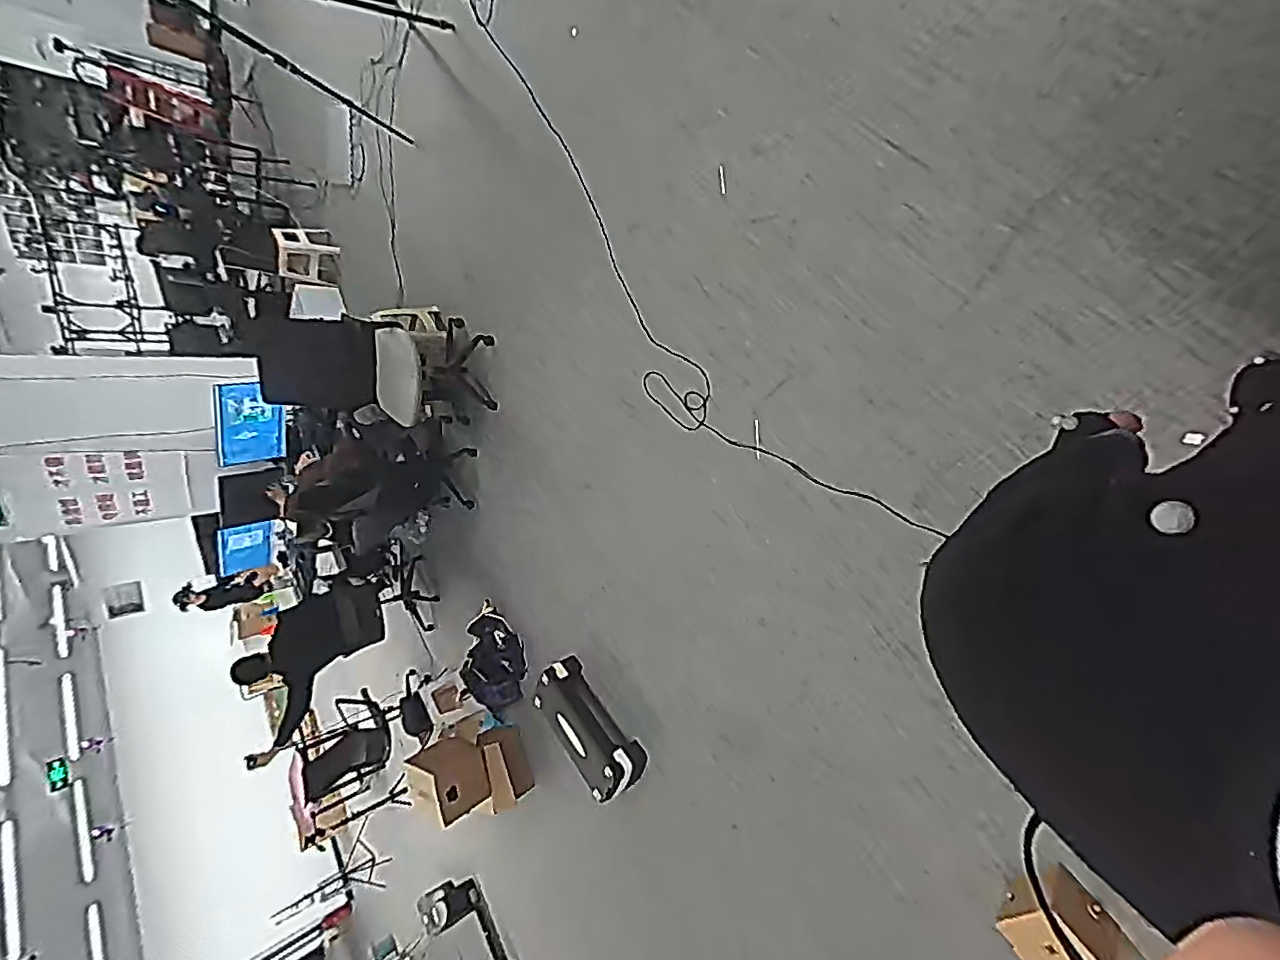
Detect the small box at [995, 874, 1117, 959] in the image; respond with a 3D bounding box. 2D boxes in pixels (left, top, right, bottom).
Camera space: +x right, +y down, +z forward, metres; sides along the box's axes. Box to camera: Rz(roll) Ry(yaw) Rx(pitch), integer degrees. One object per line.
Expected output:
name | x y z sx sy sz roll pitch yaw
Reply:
small box | 1.042 1.136 1.348 0.168 0.176 0.179 49 128 26
